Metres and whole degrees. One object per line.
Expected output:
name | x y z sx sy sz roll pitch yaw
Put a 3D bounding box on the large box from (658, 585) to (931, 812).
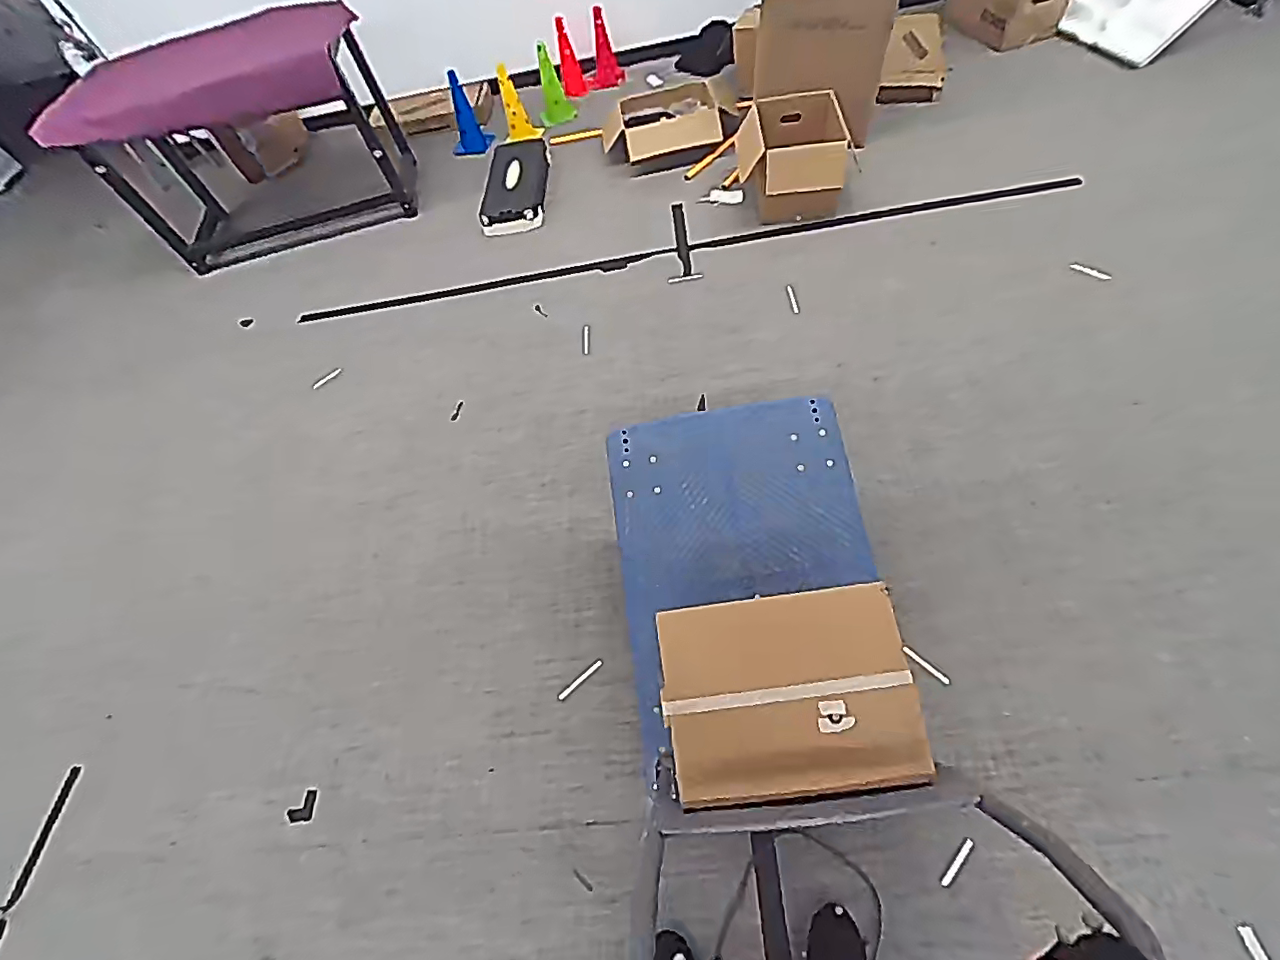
large box | 0.262 0.405 1.054 0.408 0.320 0.320 -9 74 3
